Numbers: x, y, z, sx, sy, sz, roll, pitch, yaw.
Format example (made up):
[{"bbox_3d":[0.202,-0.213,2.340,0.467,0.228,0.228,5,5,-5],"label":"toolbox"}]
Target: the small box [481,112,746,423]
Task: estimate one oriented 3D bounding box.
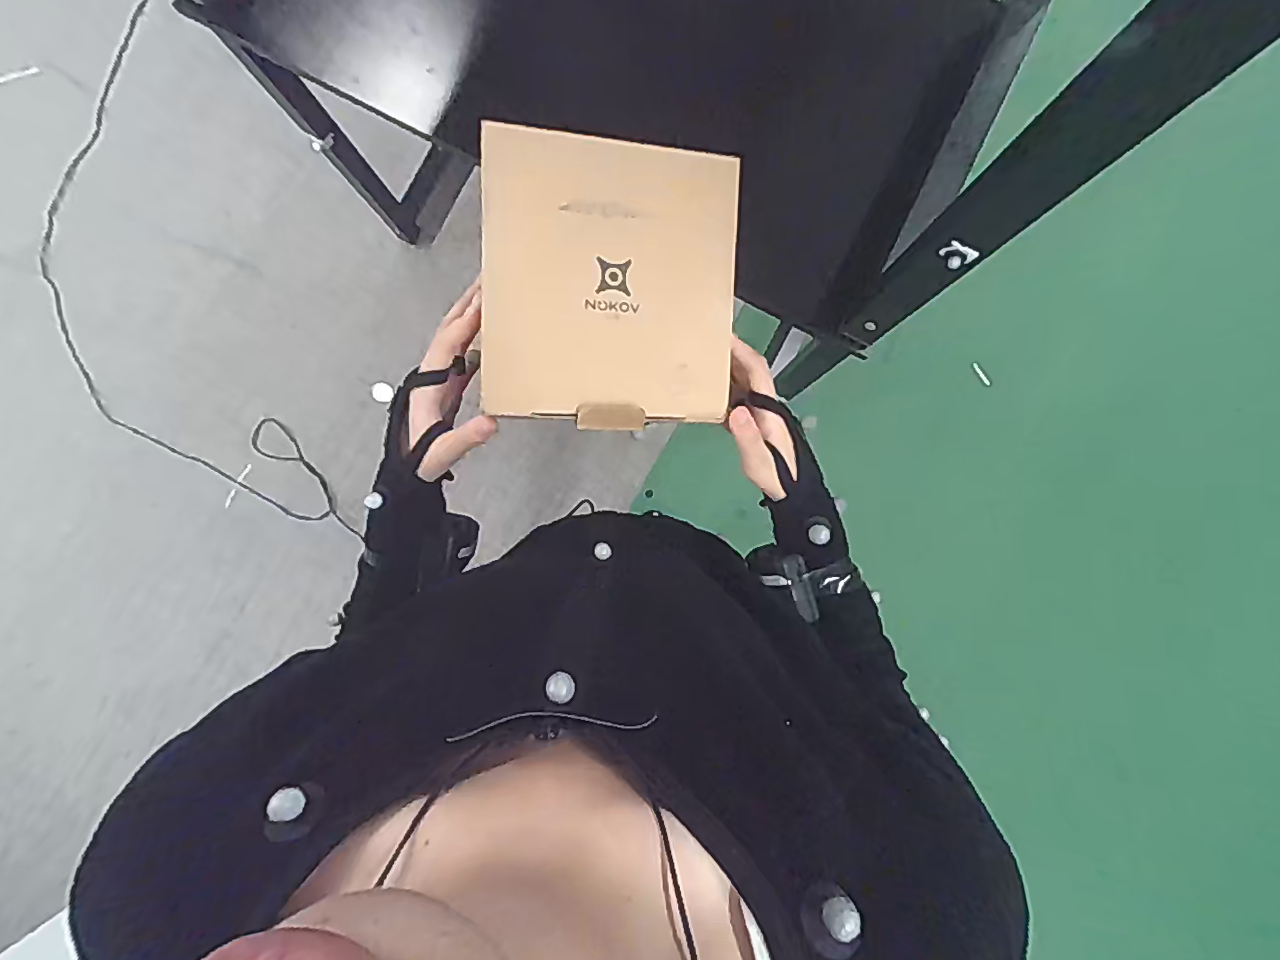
[{"bbox_3d":[-0.032,-0.135,0.415,0.168,0.176,0.179,0,96,-13],"label":"small box"}]
